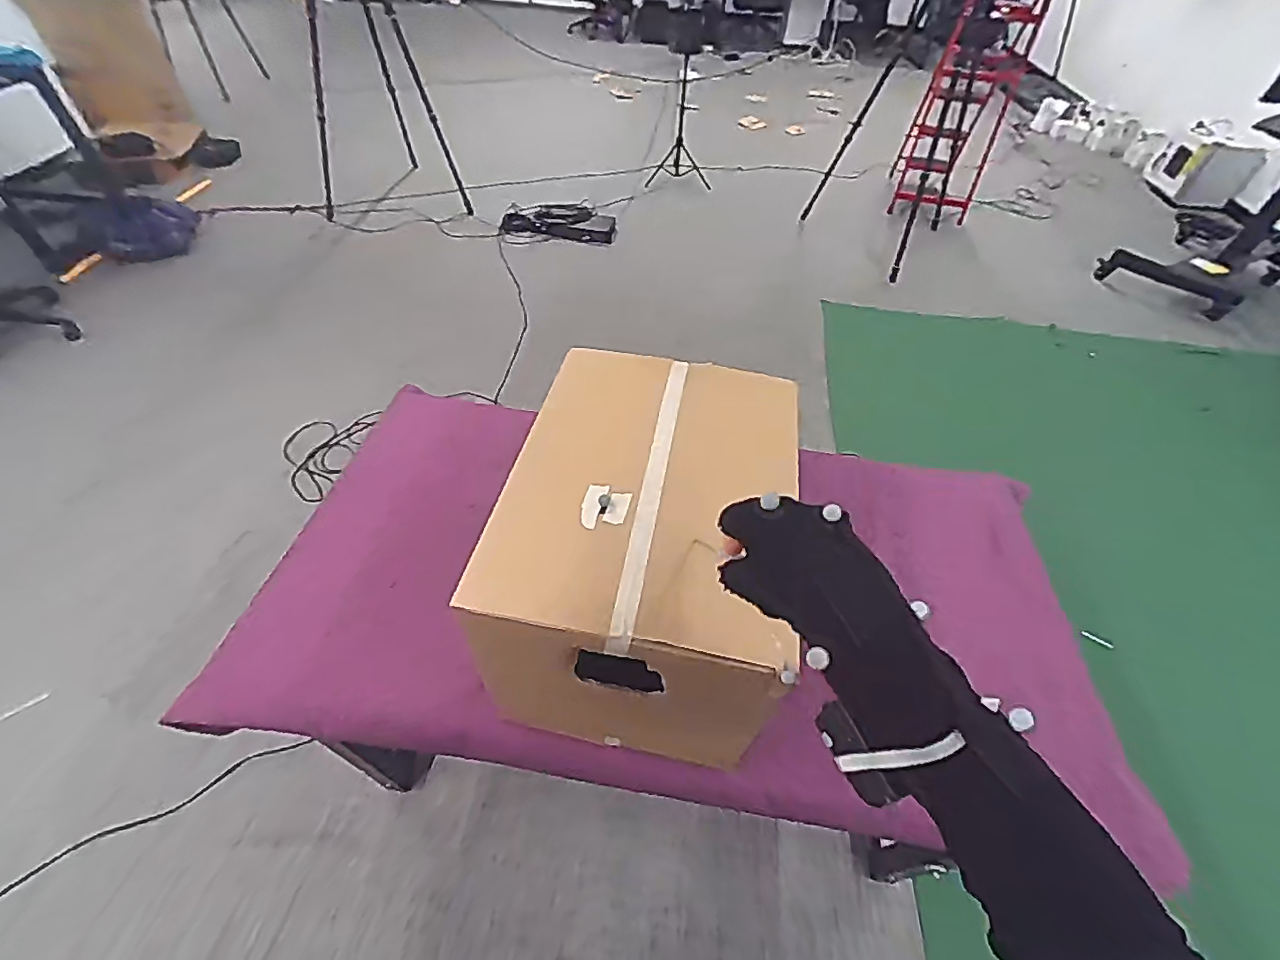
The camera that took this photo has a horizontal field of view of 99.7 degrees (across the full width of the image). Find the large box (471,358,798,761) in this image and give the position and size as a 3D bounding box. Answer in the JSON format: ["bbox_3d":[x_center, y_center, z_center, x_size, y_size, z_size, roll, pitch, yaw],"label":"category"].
[{"bbox_3d":[0.014,0.099,0.729,0.320,0.320,0.408,10,50,5],"label":"large box"}]
